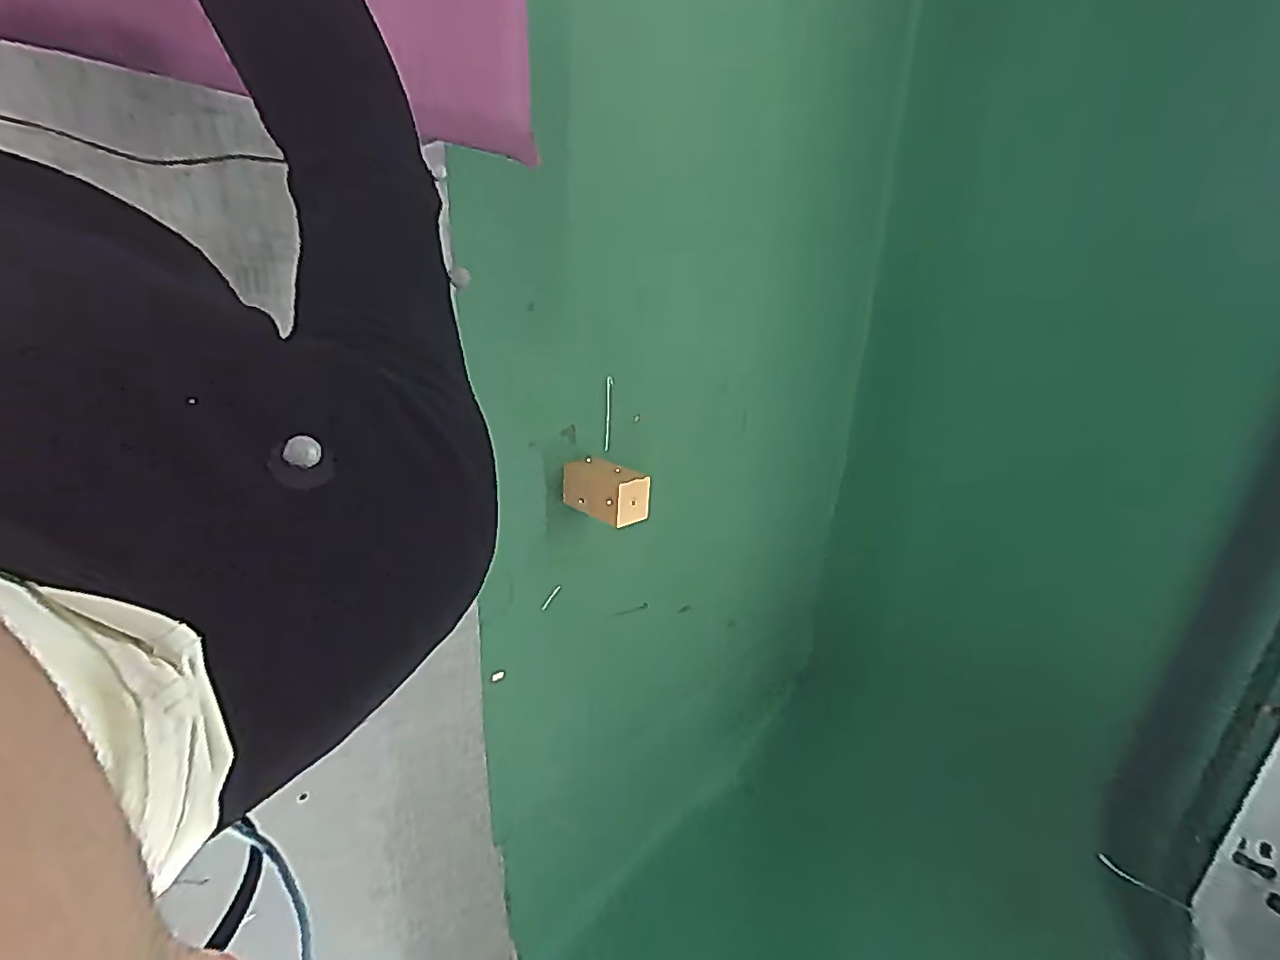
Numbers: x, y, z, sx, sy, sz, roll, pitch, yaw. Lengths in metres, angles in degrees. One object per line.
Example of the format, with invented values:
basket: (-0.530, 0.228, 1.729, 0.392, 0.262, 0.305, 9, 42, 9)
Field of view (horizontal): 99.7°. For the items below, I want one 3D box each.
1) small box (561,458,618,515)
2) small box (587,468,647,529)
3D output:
small box: (-0.206, 0.022, 2.195, 0.168, 0.176, 0.179, -14, 116, -44)
small box: (-0.093, 0.066, 2.087, 0.168, 0.176, 0.179, -15, 115, -44)
